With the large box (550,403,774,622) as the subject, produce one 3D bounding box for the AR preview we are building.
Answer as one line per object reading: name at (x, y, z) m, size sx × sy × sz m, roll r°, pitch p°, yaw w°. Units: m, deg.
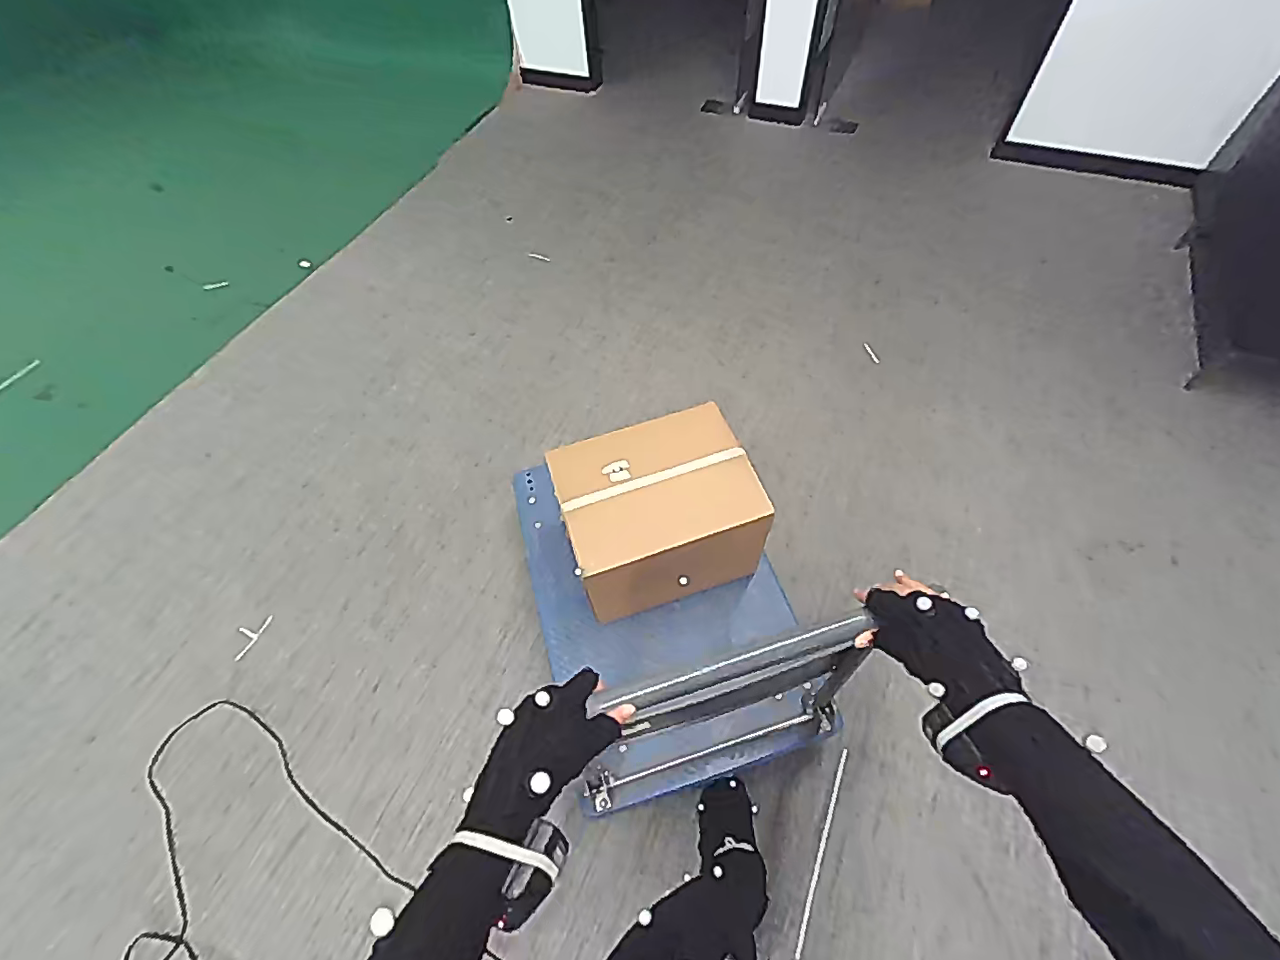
large box at (0.046, 0.083, 1.263) m, size 0.408 × 0.320 × 0.320 m, roll -19°, pitch 58°, yaw -8°
